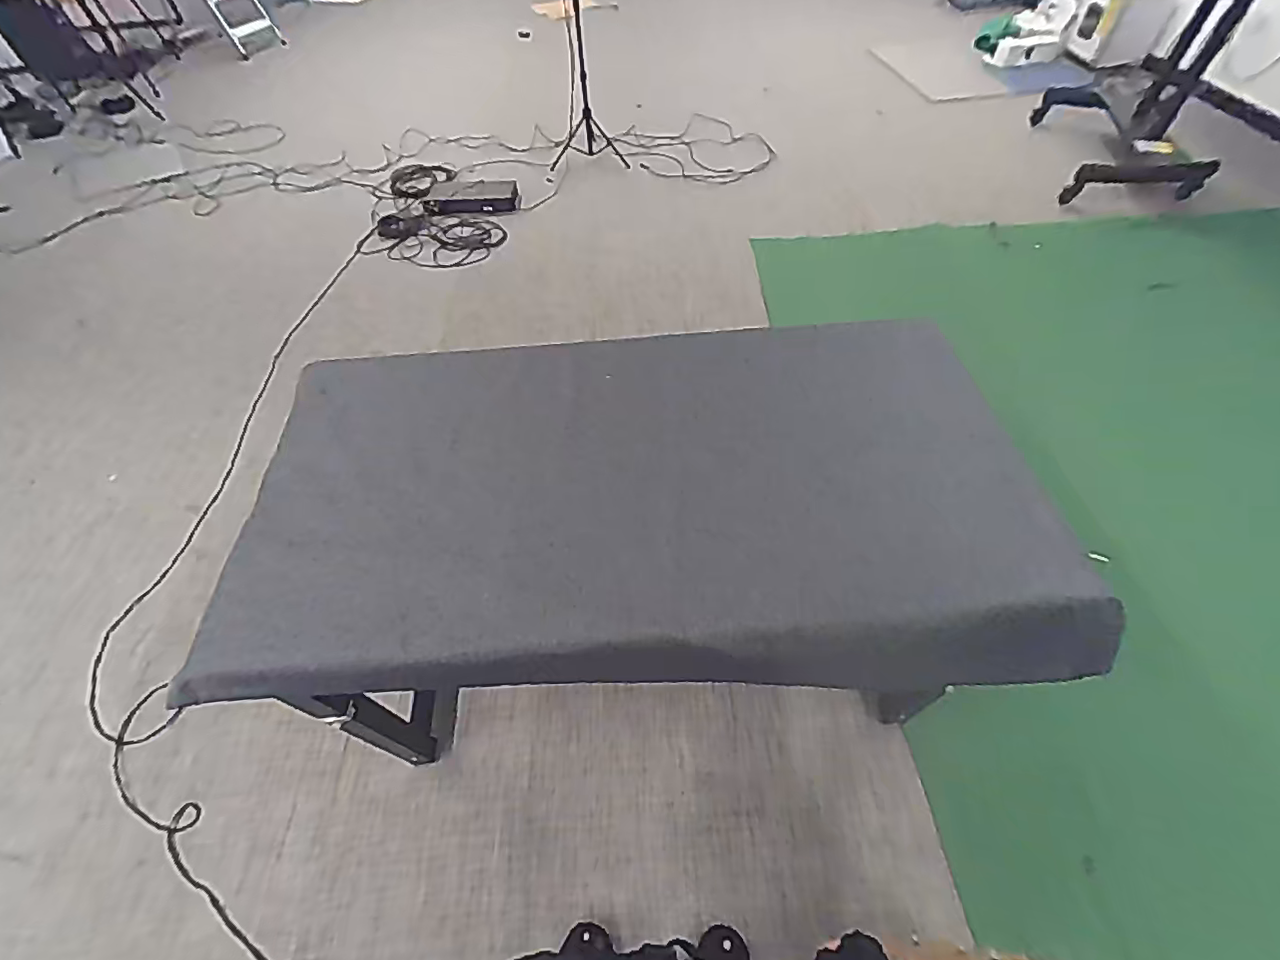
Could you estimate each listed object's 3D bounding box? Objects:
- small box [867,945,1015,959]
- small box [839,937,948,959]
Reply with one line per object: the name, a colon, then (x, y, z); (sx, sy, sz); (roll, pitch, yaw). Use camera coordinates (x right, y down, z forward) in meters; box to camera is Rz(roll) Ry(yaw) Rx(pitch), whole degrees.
small box: (0.474, 0.824, 0.825); (0.179, 0.176, 0.168); (-1, 52, 2)
small box: (0.474, 0.923, 0.957); (0.179, 0.176, 0.168); (-1, 52, 3)
